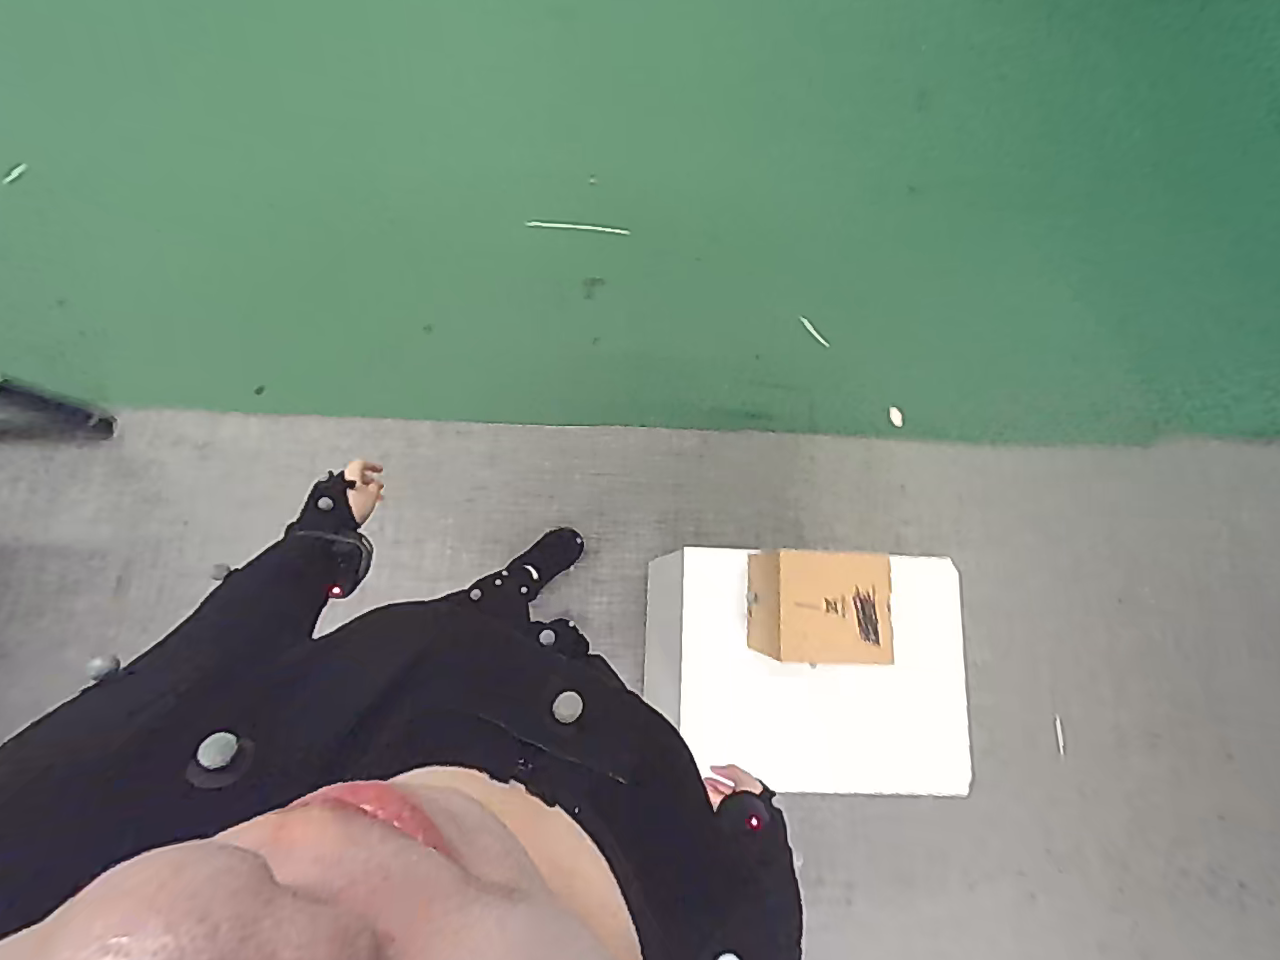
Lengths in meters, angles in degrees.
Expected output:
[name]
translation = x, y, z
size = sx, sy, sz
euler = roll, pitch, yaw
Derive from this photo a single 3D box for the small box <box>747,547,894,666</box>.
[small box]
translation = 0.285, 0.199, 0.878
size = 0.179, 0.176, 0.168
euler = 4, 80, -4
